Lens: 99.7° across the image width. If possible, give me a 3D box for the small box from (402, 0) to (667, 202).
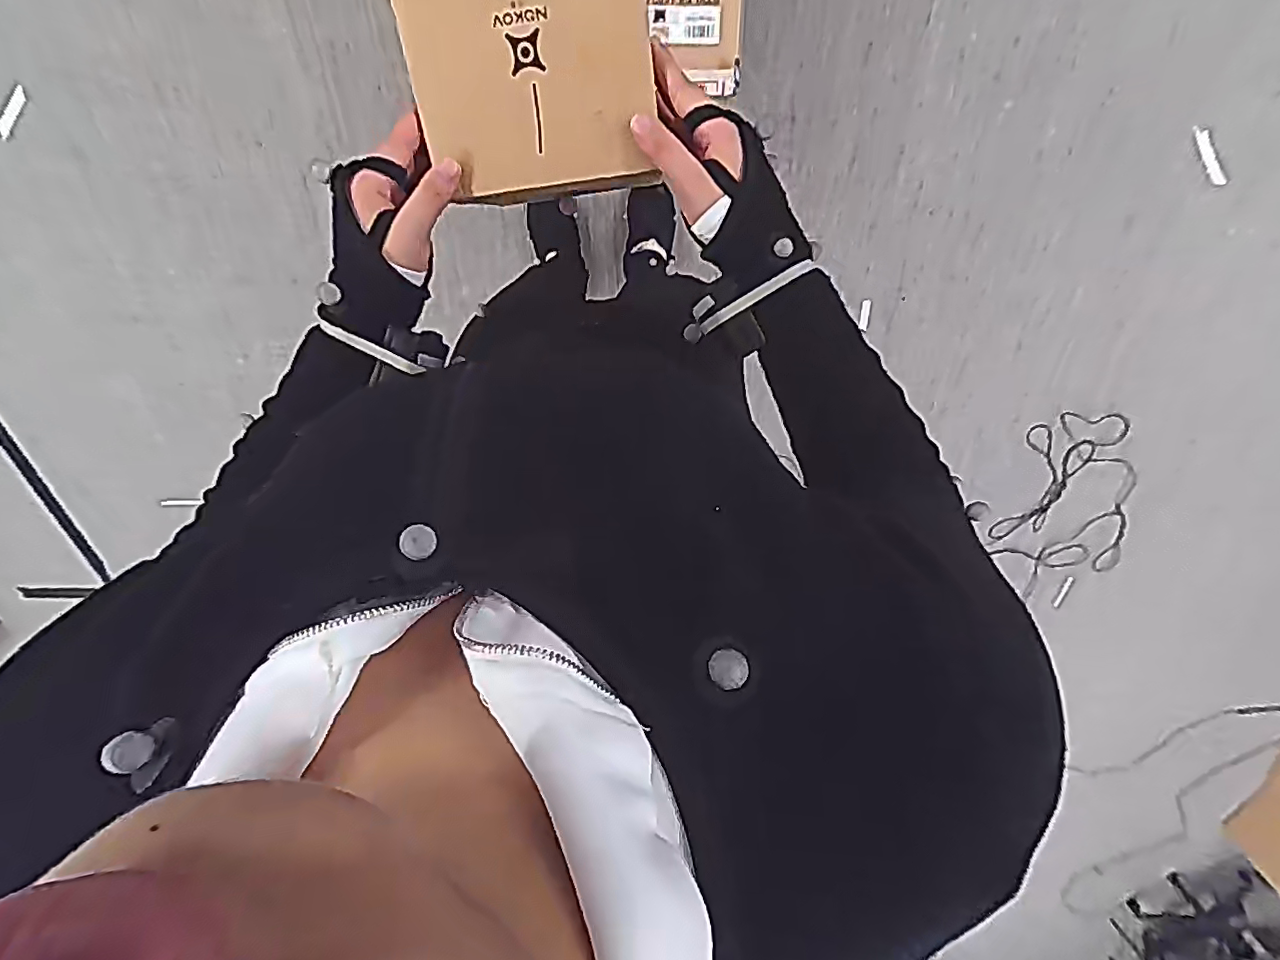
[{"bbox_3d":[-0.069,-0.328,0.427,0.168,0.176,0.179,-5,116,4],"label":"small box"}]
